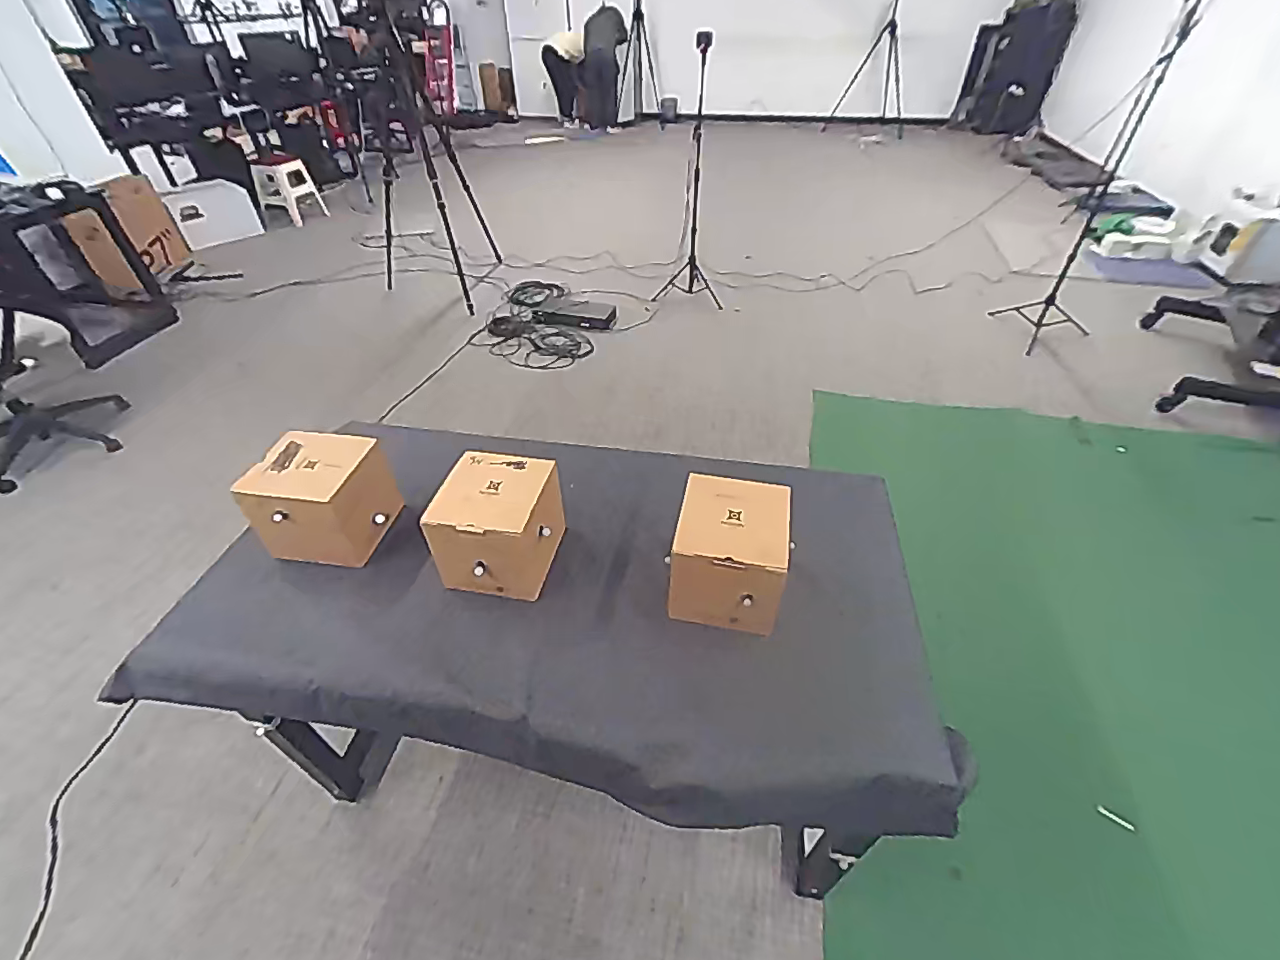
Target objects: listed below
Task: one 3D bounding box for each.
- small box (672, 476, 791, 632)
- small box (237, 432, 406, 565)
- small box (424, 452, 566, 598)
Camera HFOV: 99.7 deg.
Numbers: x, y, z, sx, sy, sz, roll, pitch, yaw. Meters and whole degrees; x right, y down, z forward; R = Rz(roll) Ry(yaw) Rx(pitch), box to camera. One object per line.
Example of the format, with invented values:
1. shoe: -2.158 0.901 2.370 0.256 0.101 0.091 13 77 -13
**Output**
1. small box: 0.146 0.120 0.872 0.168 0.176 0.179 8 42 9
2. small box: -0.556 0.034 0.973 0.179 0.176 0.168 6 43 6
3. small box: -0.232 0.078 0.922 0.168 0.176 0.179 7 43 8
